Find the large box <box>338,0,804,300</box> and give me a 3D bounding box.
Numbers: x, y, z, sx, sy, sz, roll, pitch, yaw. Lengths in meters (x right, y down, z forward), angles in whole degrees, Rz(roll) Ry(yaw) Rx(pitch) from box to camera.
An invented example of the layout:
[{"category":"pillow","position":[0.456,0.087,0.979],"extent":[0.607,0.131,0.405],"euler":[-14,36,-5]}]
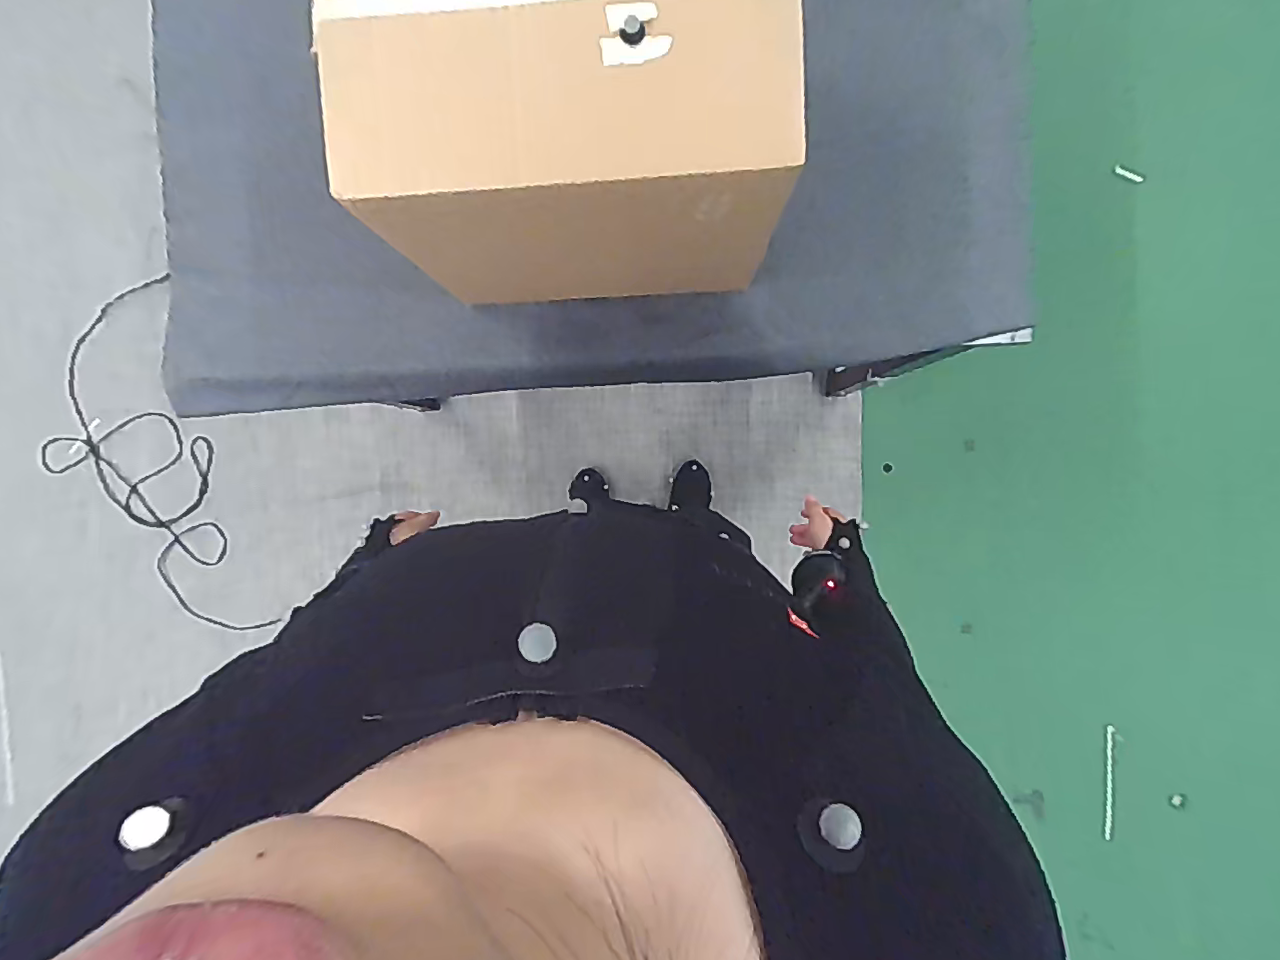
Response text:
[{"category":"large box","position":[-0.063,-0.416,0.613],"extent":[0.408,0.320,0.320],"euler":[-3,92,2]}]
